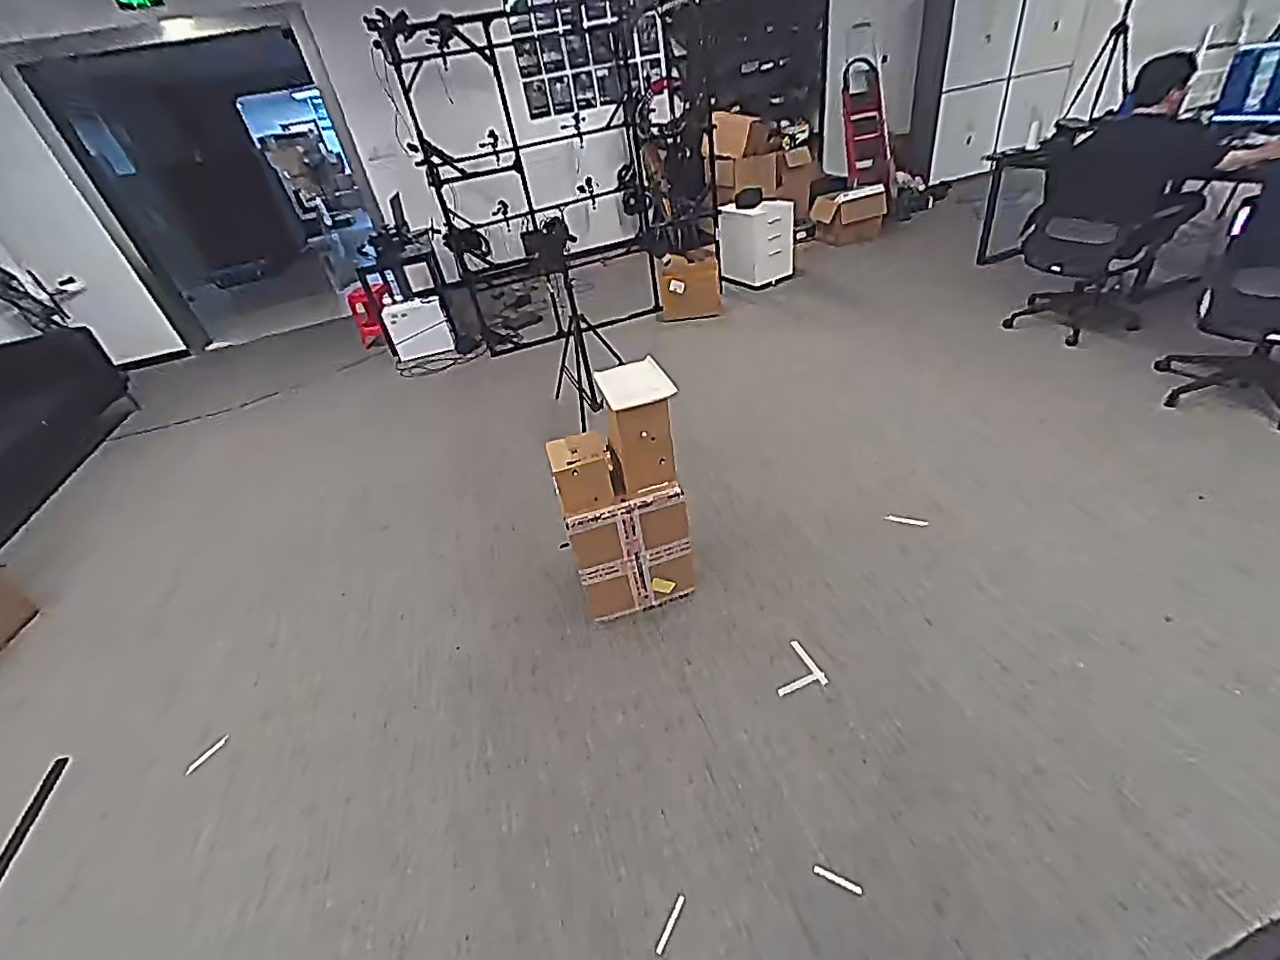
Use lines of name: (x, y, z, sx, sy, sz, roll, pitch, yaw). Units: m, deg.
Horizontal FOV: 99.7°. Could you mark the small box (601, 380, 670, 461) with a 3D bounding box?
small box: (-0.013, -0.184, 1.663, 0.168, 0.176, 0.179, -15, 38, -10)
